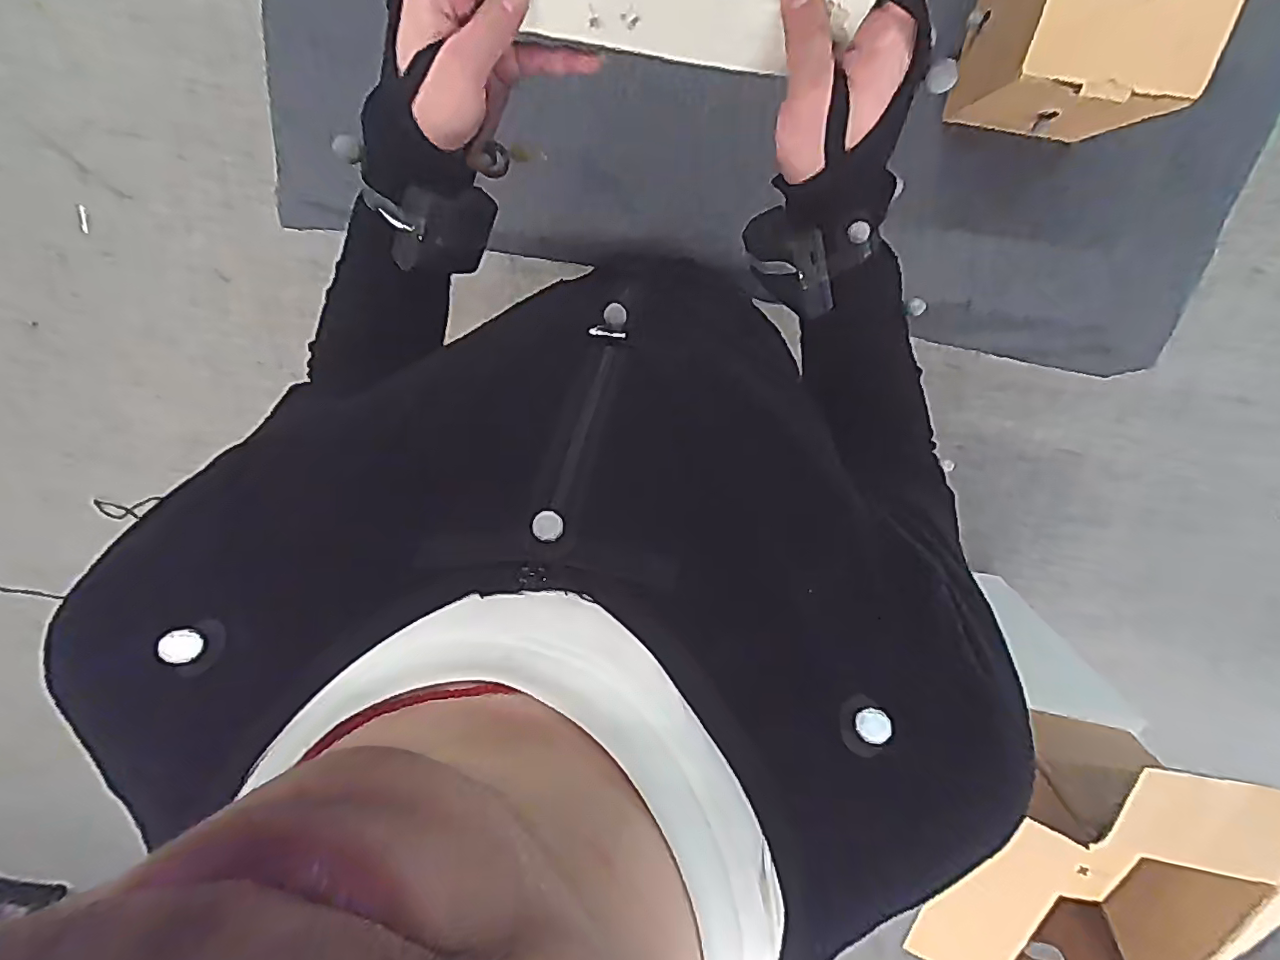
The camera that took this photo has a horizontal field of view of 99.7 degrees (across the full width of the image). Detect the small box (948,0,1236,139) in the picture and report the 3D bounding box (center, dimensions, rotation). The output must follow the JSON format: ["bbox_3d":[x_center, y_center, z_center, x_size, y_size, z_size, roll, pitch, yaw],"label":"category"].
[{"bbox_3d":[0.448,-0.467,0.548,0.168,0.176,0.179,9,113,0],"label":"small box"}]
